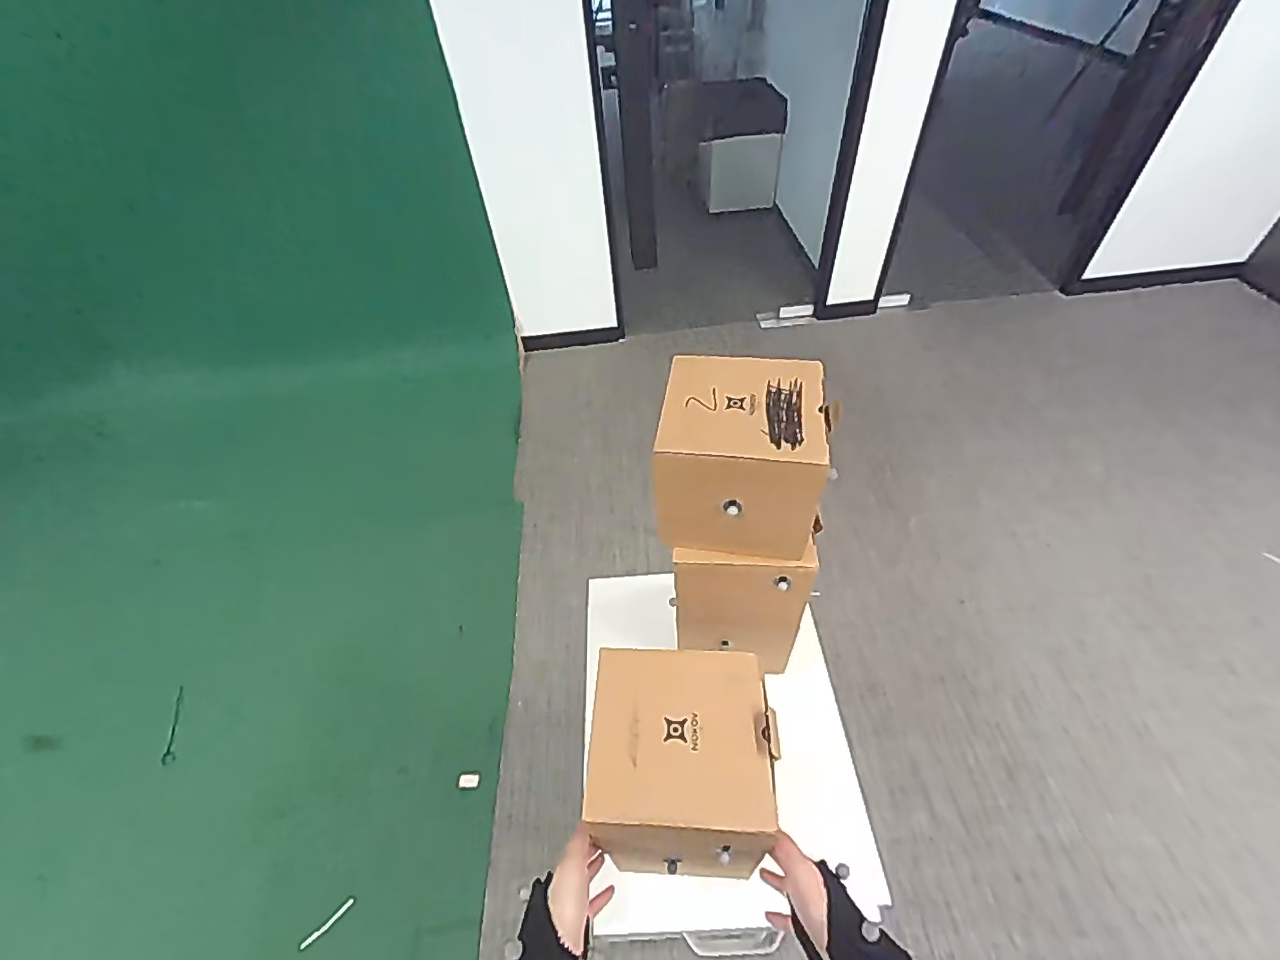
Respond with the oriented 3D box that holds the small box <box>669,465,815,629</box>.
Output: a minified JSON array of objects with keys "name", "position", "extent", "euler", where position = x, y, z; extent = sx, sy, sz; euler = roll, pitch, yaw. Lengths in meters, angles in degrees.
[{"name":"small box","position":[0.134,0.096,0.759],"extent":[0.179,0.176,0.168],"euler":[1,48,5]}]

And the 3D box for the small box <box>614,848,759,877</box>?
[{"name":"small box","position":[0.055,0.404,0.706],"extent":[0.179,0.176,0.168],"euler":[1,48,4]}]

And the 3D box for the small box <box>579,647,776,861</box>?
[{"name":"small box","position":[0.041,0.297,0.585],"extent":[0.179,0.176,0.168],"euler":[0,46,5]}]

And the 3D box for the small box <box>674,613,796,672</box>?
[{"name":"small box","position":[0.149,0.201,0.882],"extent":[0.179,0.176,0.168],"euler":[1,49,6]}]
